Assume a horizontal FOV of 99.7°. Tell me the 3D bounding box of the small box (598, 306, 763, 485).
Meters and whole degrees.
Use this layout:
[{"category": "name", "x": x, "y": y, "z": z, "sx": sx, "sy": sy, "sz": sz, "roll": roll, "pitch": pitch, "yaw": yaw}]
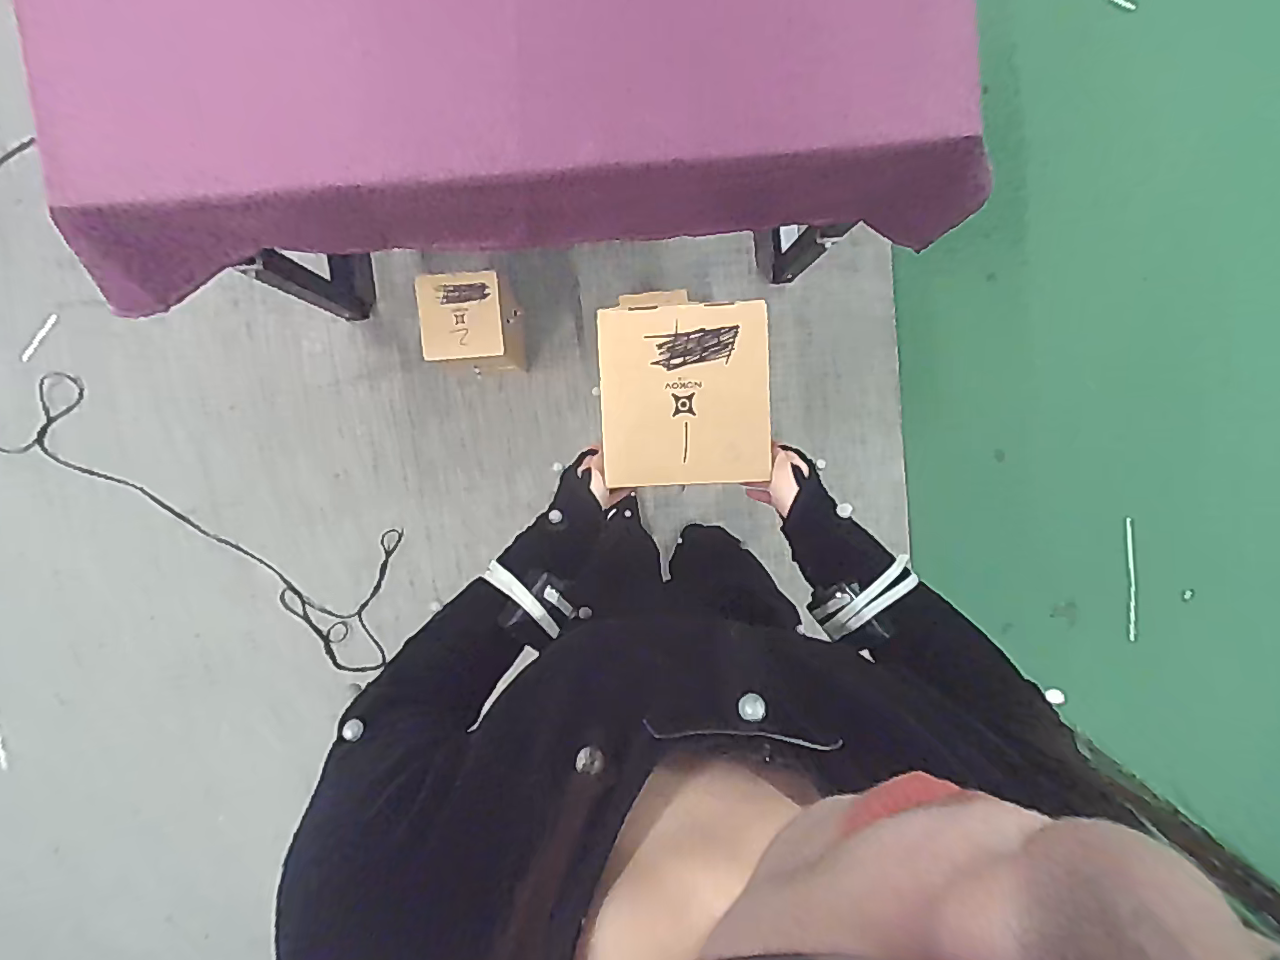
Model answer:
[{"category": "small box", "x": 0.043, "y": -0.089, "z": 0.619, "sx": 0.168, "sy": 0.176, "sz": 0.179, "roll": -2, "pitch": 95, "yaw": 3}]
